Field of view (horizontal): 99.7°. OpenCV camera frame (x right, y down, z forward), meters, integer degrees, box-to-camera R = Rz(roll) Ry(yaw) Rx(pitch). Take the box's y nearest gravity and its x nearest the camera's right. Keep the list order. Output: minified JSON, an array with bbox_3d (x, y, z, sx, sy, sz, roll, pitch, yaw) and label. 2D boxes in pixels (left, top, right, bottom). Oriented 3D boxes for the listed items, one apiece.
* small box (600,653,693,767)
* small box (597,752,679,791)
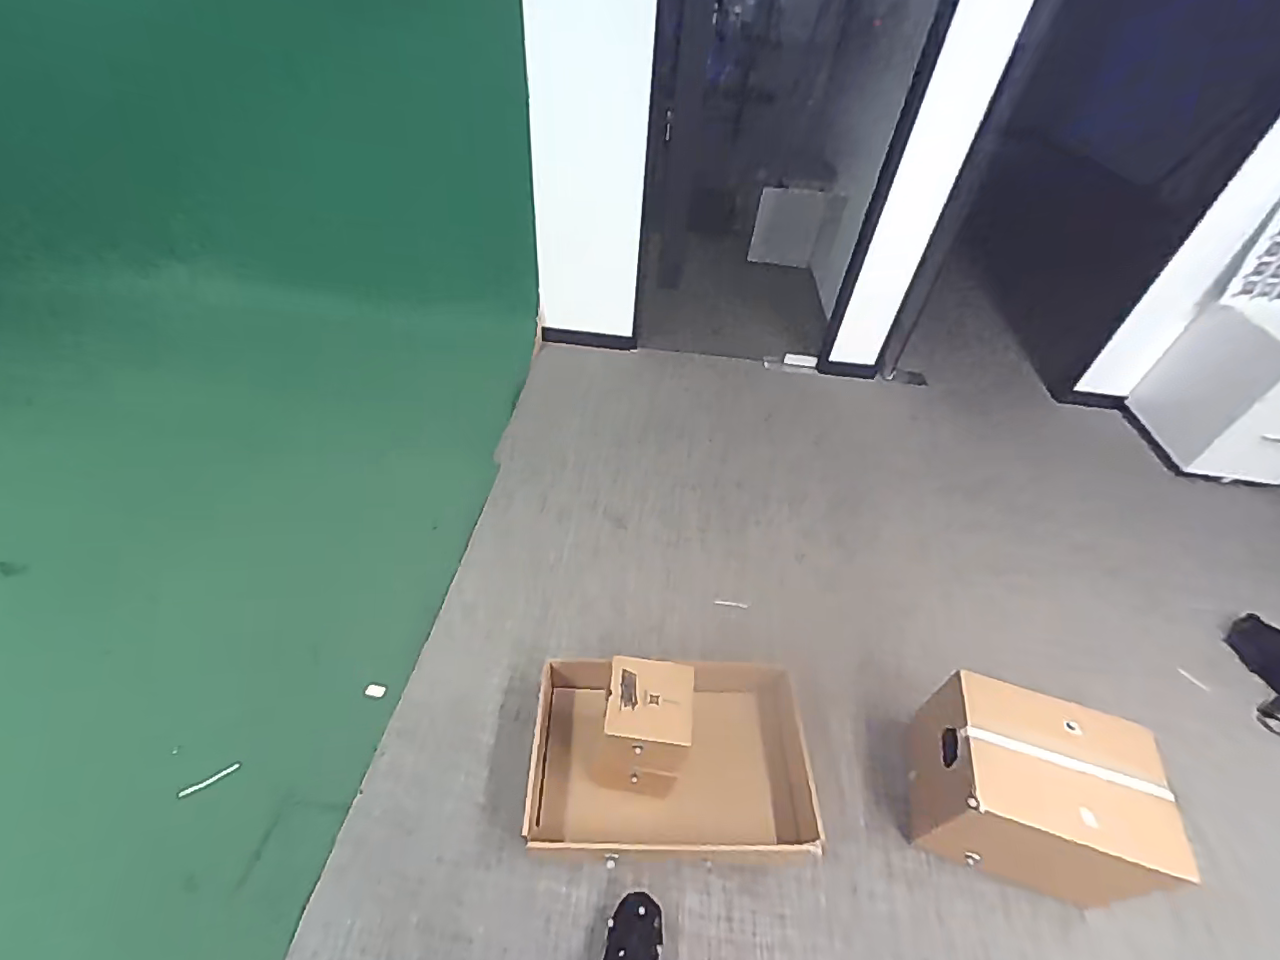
[{"bbox_3d":[0.012,0.497,1.163,0.179,0.176,0.168,9,45,-1],"label":"small box"},{"bbox_3d":[-0.002,0.615,1.278,0.179,0.176,0.168,10,45,-1],"label":"small box"}]
